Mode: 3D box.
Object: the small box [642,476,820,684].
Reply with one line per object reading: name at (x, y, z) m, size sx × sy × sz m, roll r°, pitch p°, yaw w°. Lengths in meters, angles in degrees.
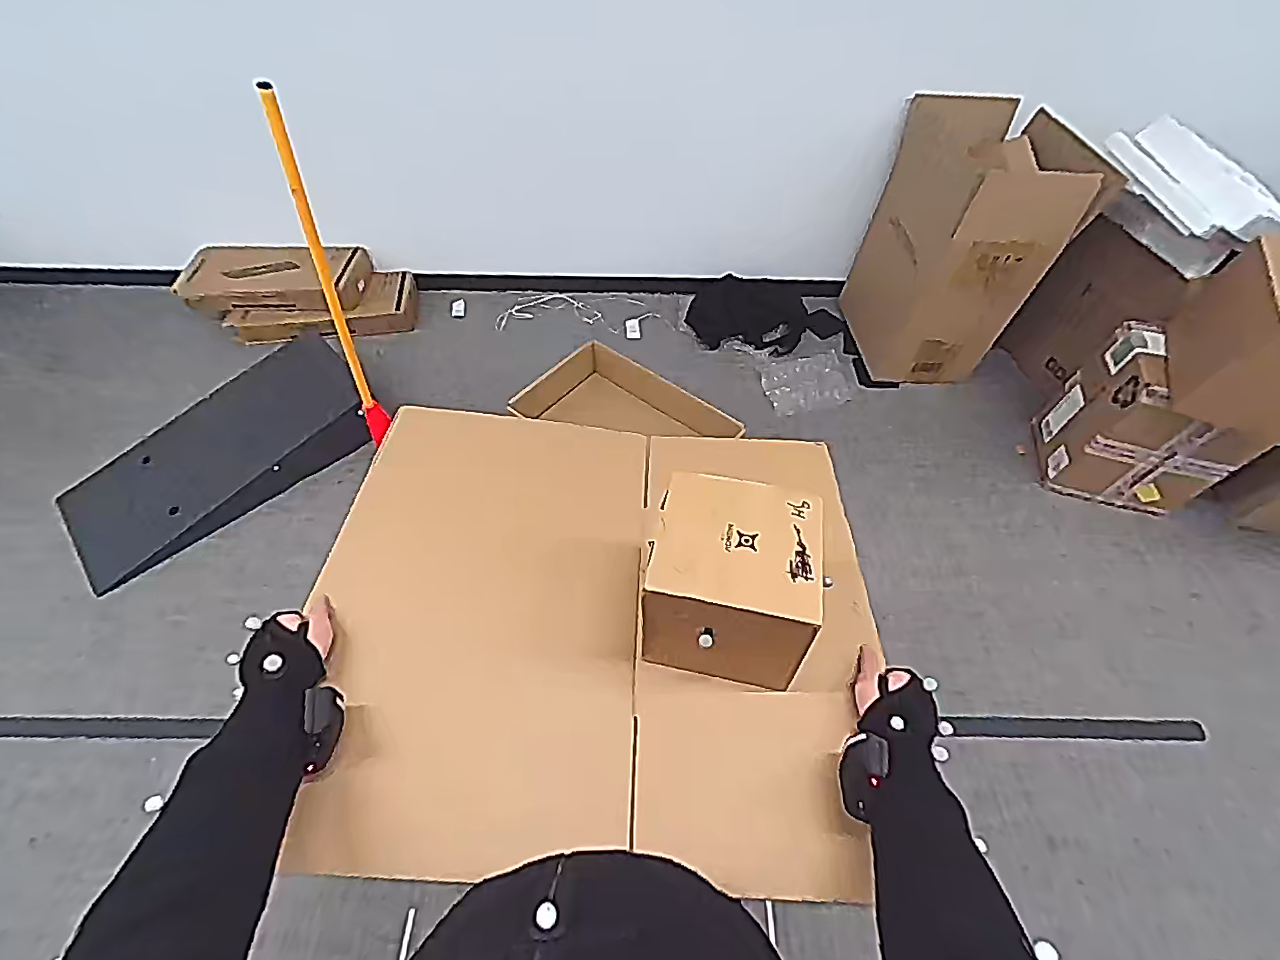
small box at (0.106, 0.120, 0.638) m, size 0.179 × 0.176 × 0.168 m, roll 9°, pitch 49°, yaw 9°
